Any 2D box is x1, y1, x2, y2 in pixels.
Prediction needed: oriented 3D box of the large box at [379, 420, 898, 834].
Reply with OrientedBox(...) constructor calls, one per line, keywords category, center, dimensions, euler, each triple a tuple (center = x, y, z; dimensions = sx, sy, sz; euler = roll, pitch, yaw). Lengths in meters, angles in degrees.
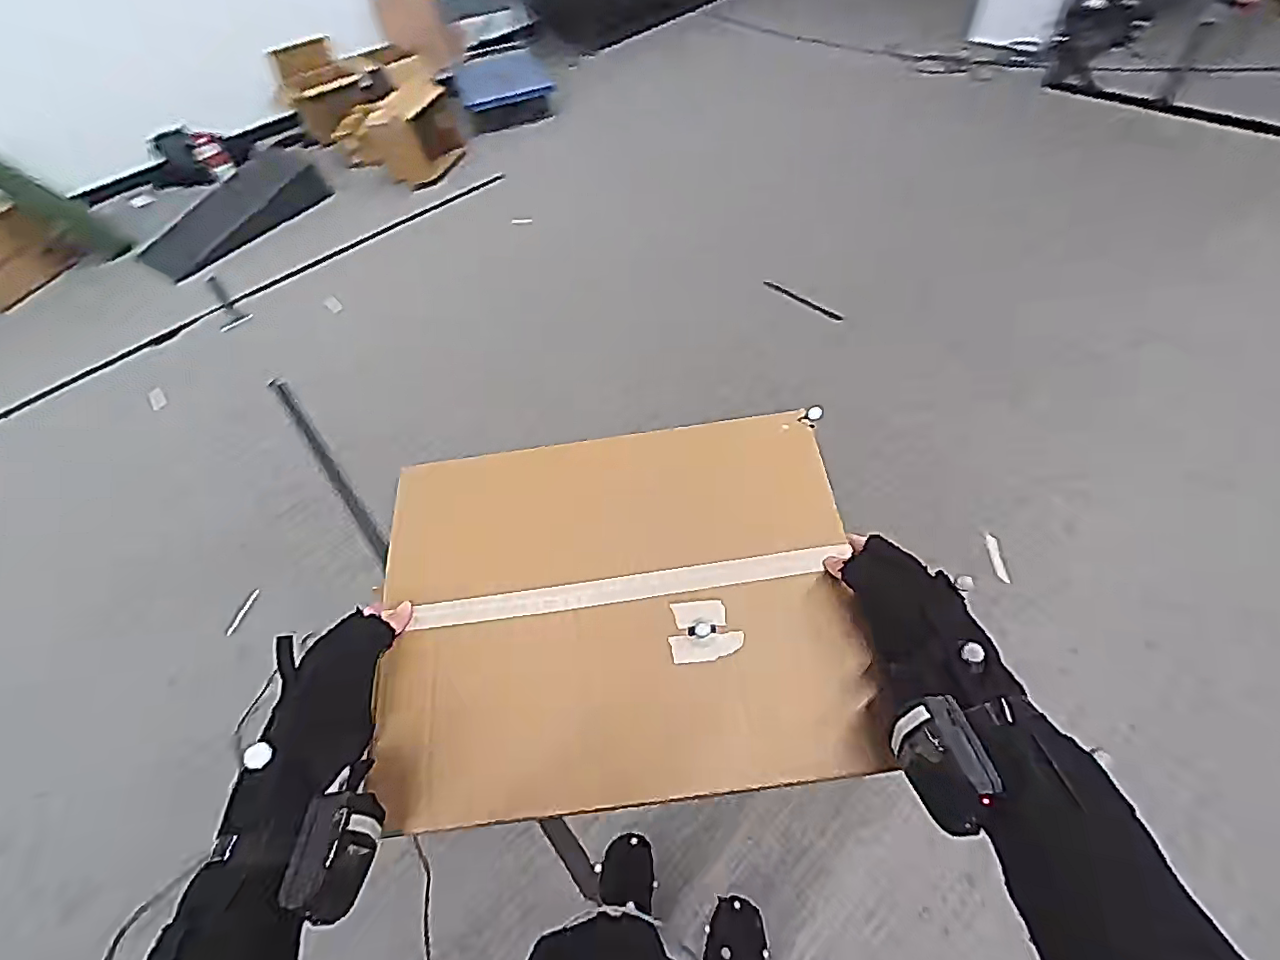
OrientedBox(category="large box", center=(-0.012, 0.173, 0.604), dimensions=(0.408, 0.320, 0.320), euler=(-9, 61, 0))
